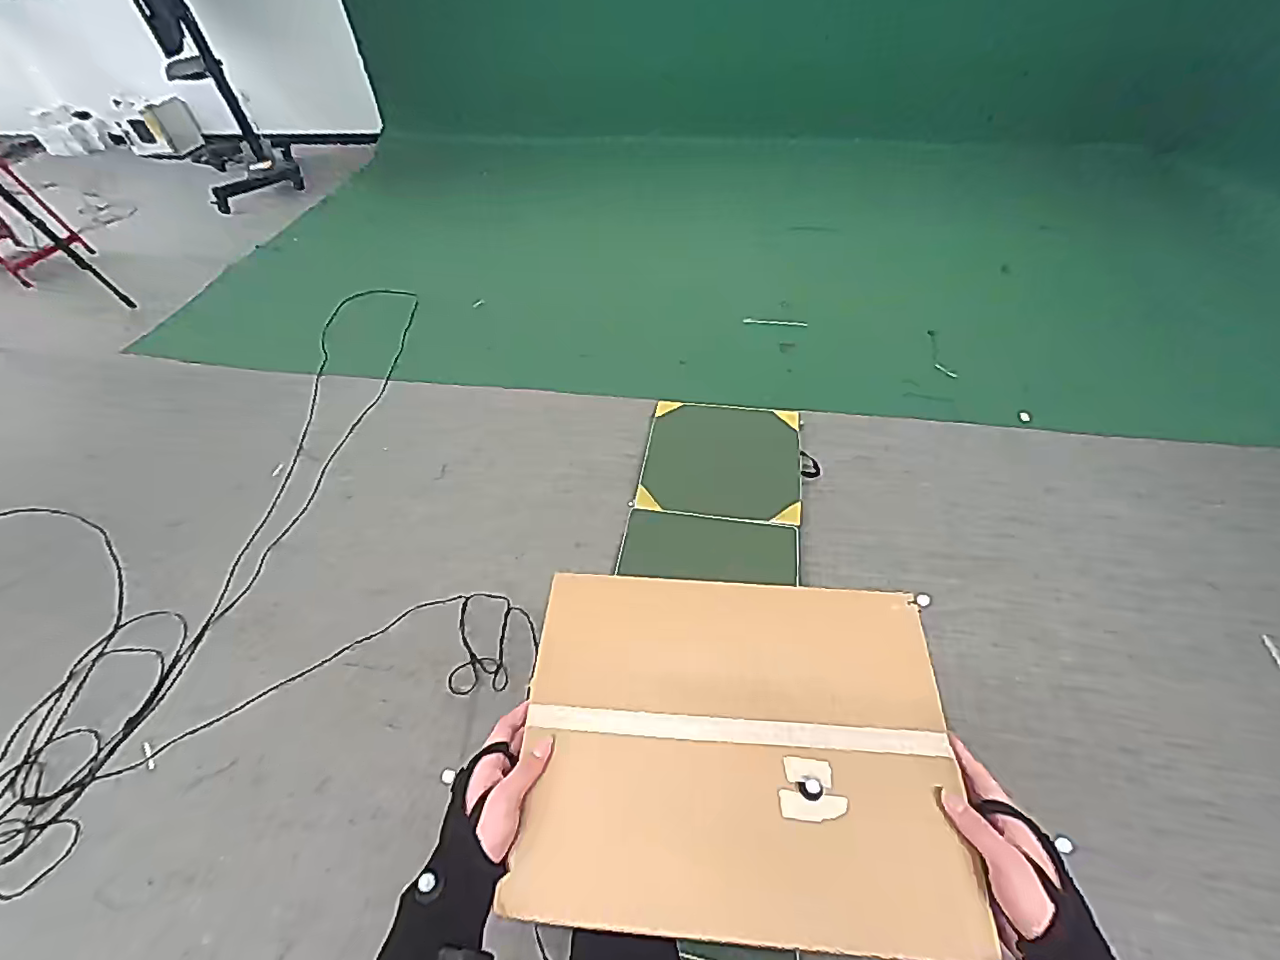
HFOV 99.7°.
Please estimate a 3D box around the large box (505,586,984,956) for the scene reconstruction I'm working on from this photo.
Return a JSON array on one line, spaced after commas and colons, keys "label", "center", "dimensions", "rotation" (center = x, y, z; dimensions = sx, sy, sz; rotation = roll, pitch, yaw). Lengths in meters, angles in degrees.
[{"label": "large box", "center": [0.092, 0.343, 0.651], "dimensions": [0.408, 0.320, 0.320], "rotation": [3, 54, 3]}]
